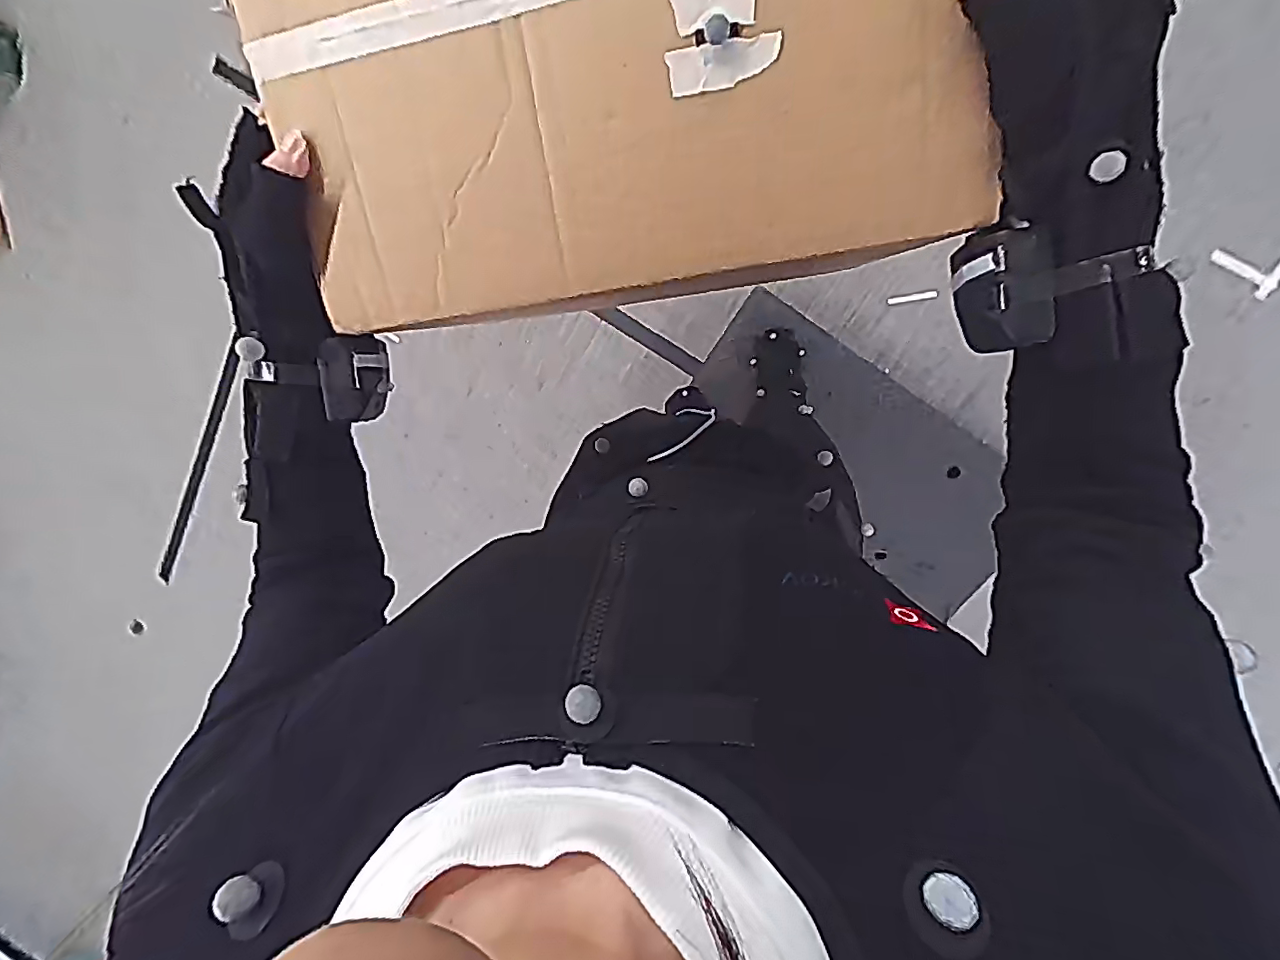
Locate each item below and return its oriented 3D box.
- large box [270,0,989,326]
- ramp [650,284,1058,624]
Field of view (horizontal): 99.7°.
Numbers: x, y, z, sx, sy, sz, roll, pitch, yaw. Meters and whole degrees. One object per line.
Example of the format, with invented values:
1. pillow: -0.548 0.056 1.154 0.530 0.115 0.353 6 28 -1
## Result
1. large box: -0.003 -0.316 0.438 0.408 0.320 0.320 -6 107 10
2. ramp: 0.569 -0.032 1.434 0.991 0.206 0.509 33 105 3
